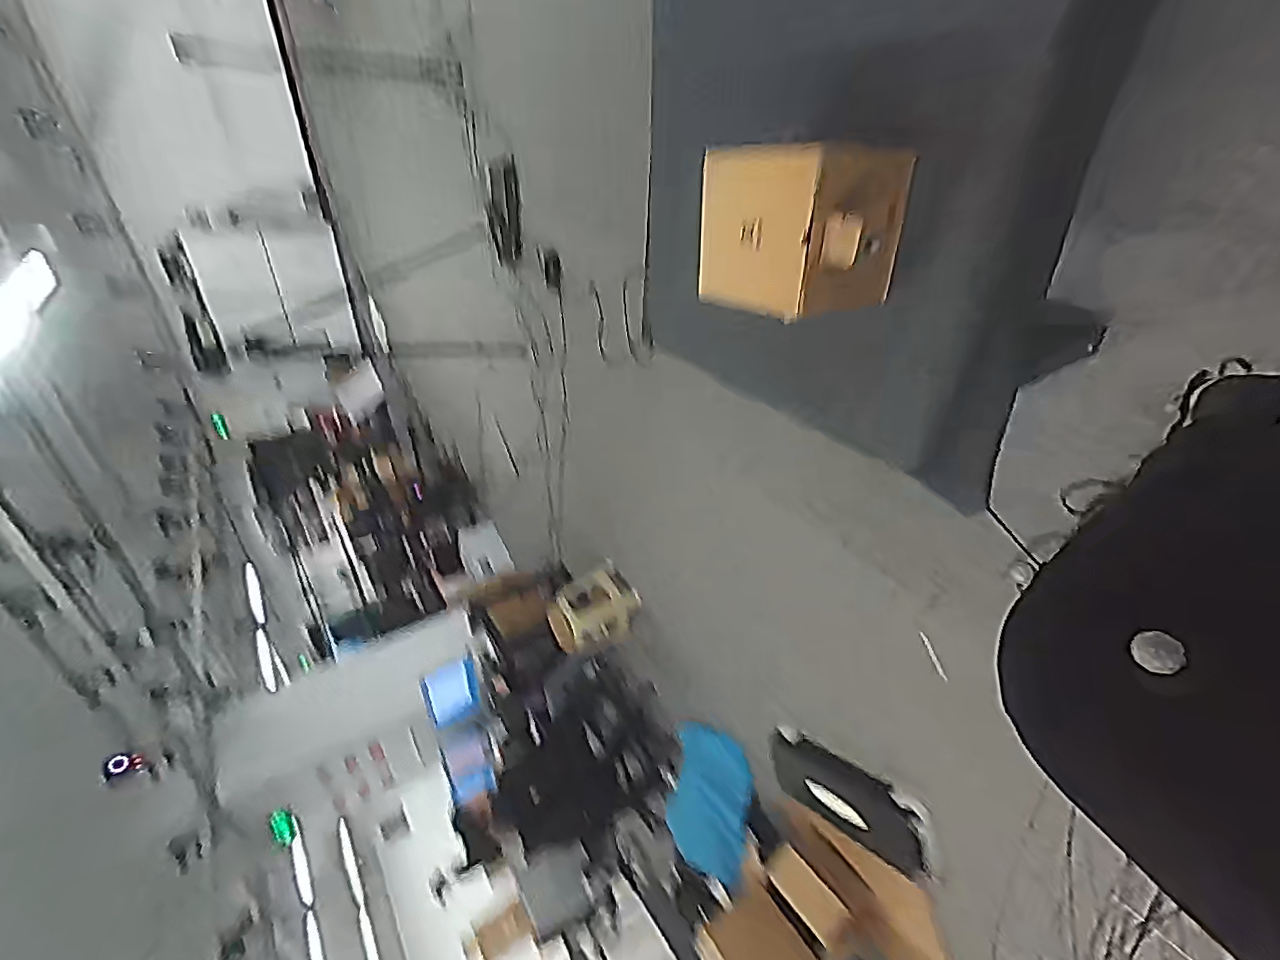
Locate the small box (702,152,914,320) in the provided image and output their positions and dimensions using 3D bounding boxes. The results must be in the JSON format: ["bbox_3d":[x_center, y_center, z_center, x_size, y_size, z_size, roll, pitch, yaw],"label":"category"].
[{"bbox_3d":[0.199,-0.305,0.673,0.179,0.176,0.168,33,133,46],"label":"small box"}]
